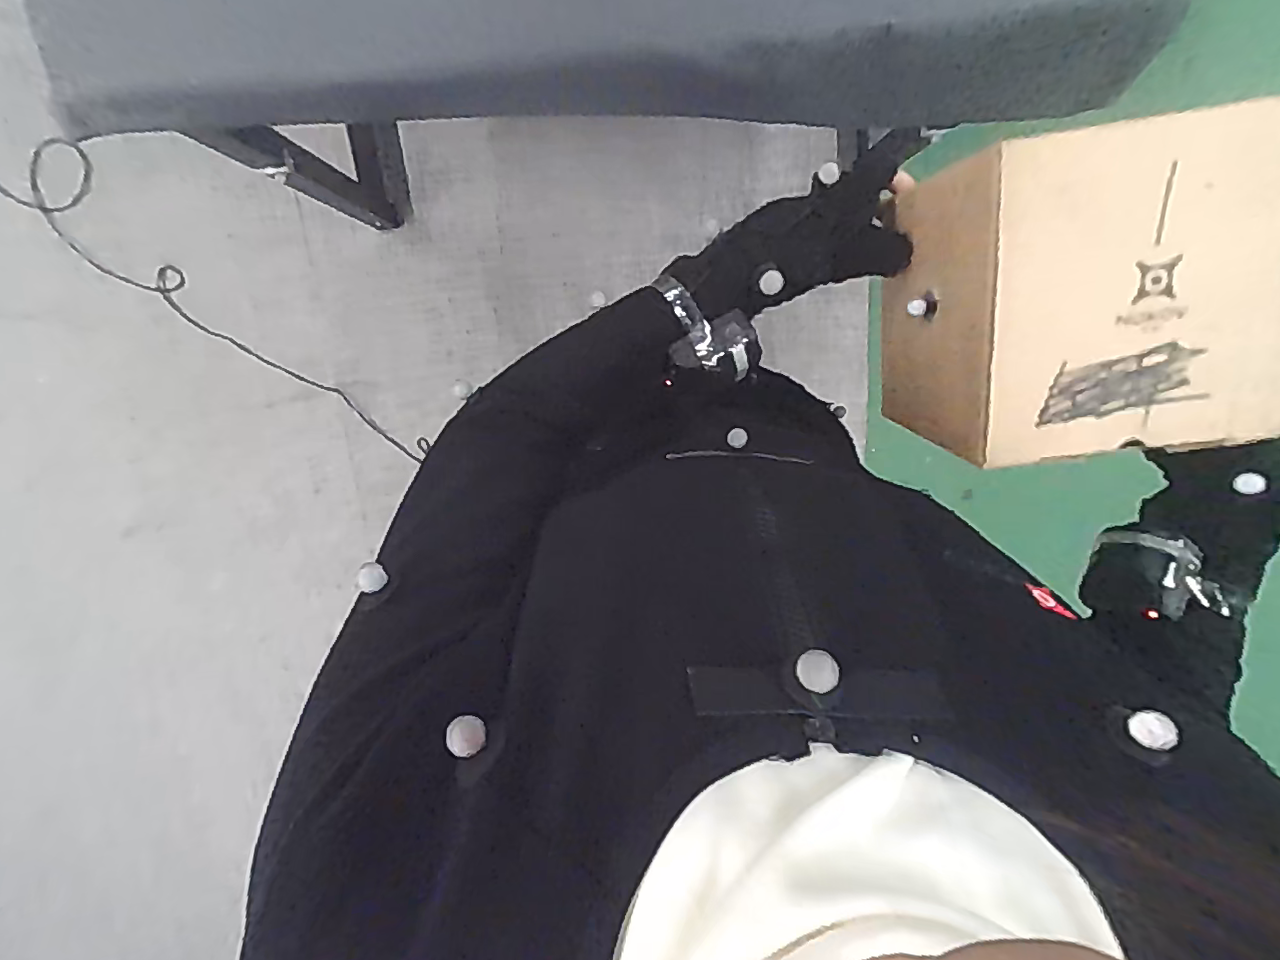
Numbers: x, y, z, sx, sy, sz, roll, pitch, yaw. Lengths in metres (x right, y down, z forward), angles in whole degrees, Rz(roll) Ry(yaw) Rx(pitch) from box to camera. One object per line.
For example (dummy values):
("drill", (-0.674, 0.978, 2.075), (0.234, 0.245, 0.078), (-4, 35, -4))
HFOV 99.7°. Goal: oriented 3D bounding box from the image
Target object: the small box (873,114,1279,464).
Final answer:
("small box", (0.276, -0.123, 0.380), (0.168, 0.176, 0.179), (-5, 107, 5))
